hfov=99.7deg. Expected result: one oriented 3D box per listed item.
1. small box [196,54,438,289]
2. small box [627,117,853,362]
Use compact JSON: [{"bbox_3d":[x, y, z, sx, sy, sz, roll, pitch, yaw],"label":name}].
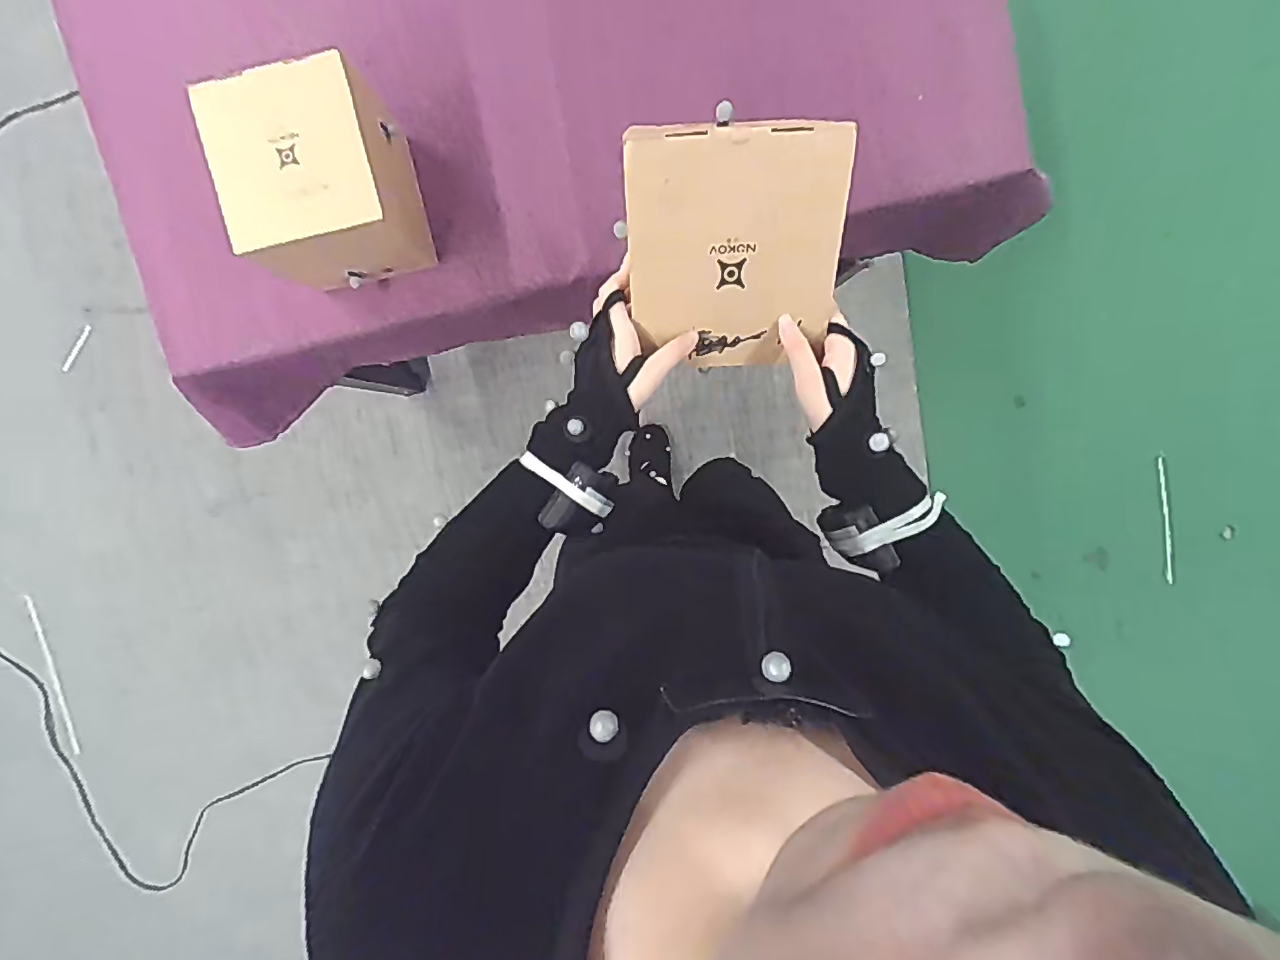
[{"bbox_3d":[-0.366,-0.350,0.648,0.168,0.176,0.179,-12,96,1],"label":"small box"},{"bbox_3d":[0.073,-0.221,0.493,0.168,0.176,0.179,-1,124,2],"label":"small box"}]
